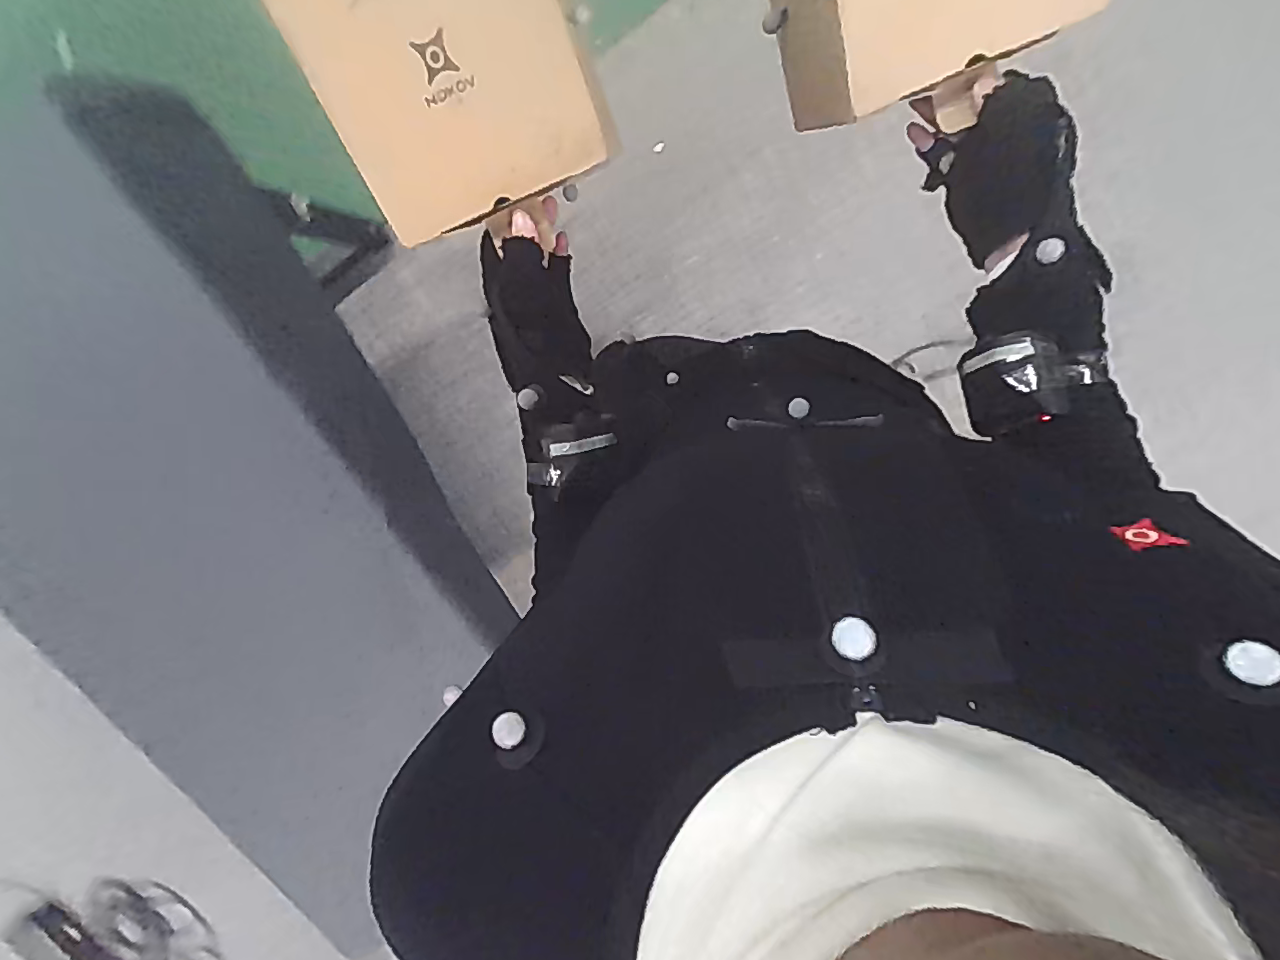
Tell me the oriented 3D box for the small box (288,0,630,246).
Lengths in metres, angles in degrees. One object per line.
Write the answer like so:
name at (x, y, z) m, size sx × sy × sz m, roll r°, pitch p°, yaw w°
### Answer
small box at (-0.113, -0.308, 0.414) m, size 0.168 × 0.176 × 0.179 m, roll -17°, pitch 119°, yaw 13°
